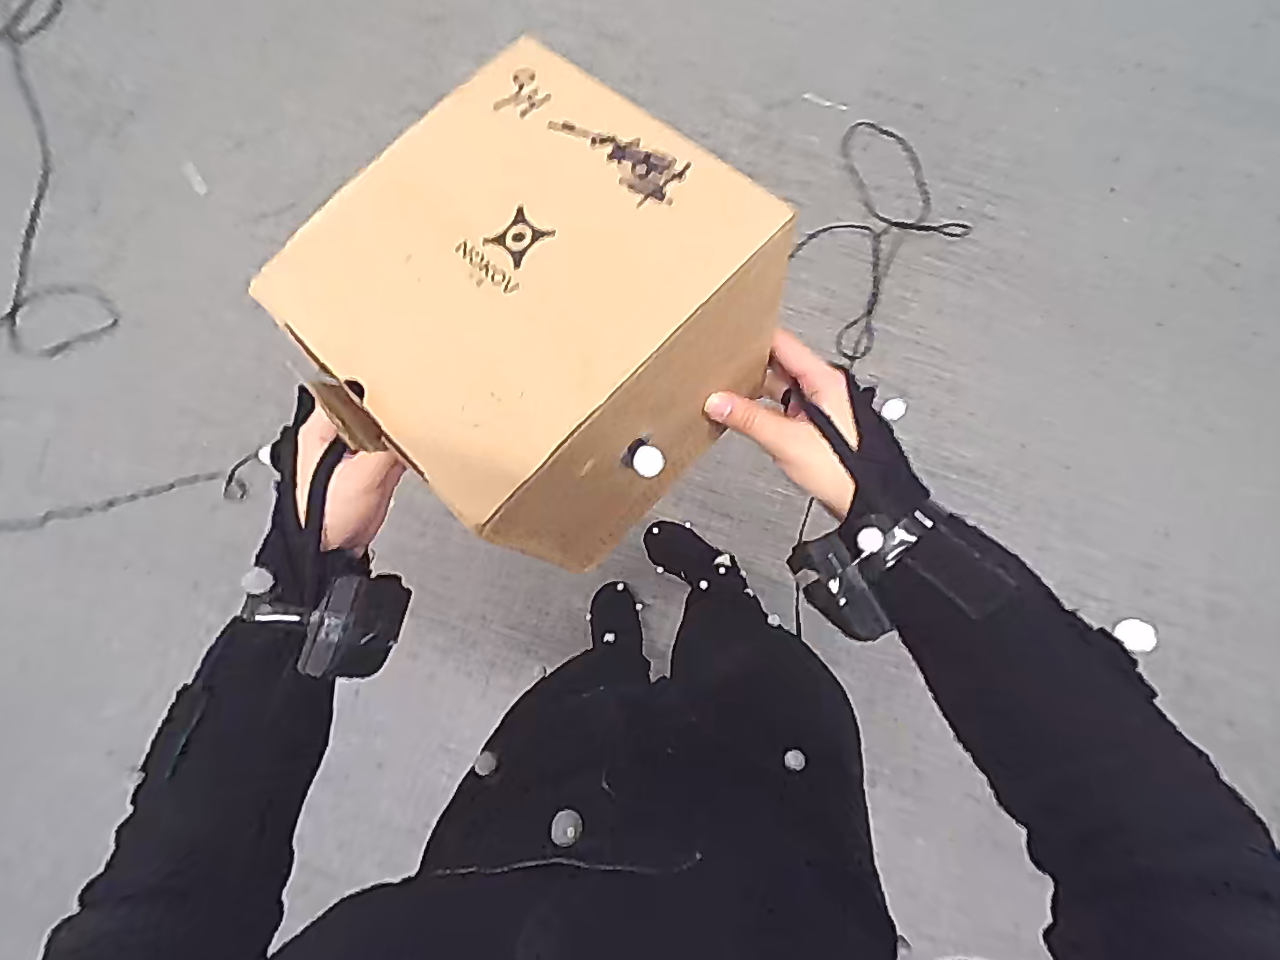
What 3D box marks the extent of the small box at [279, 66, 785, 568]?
[{"bbox_3d":[-0.041,-0.068,0.310,0.179,0.176,0.168,-45,74,-4],"label":"small box"}]
